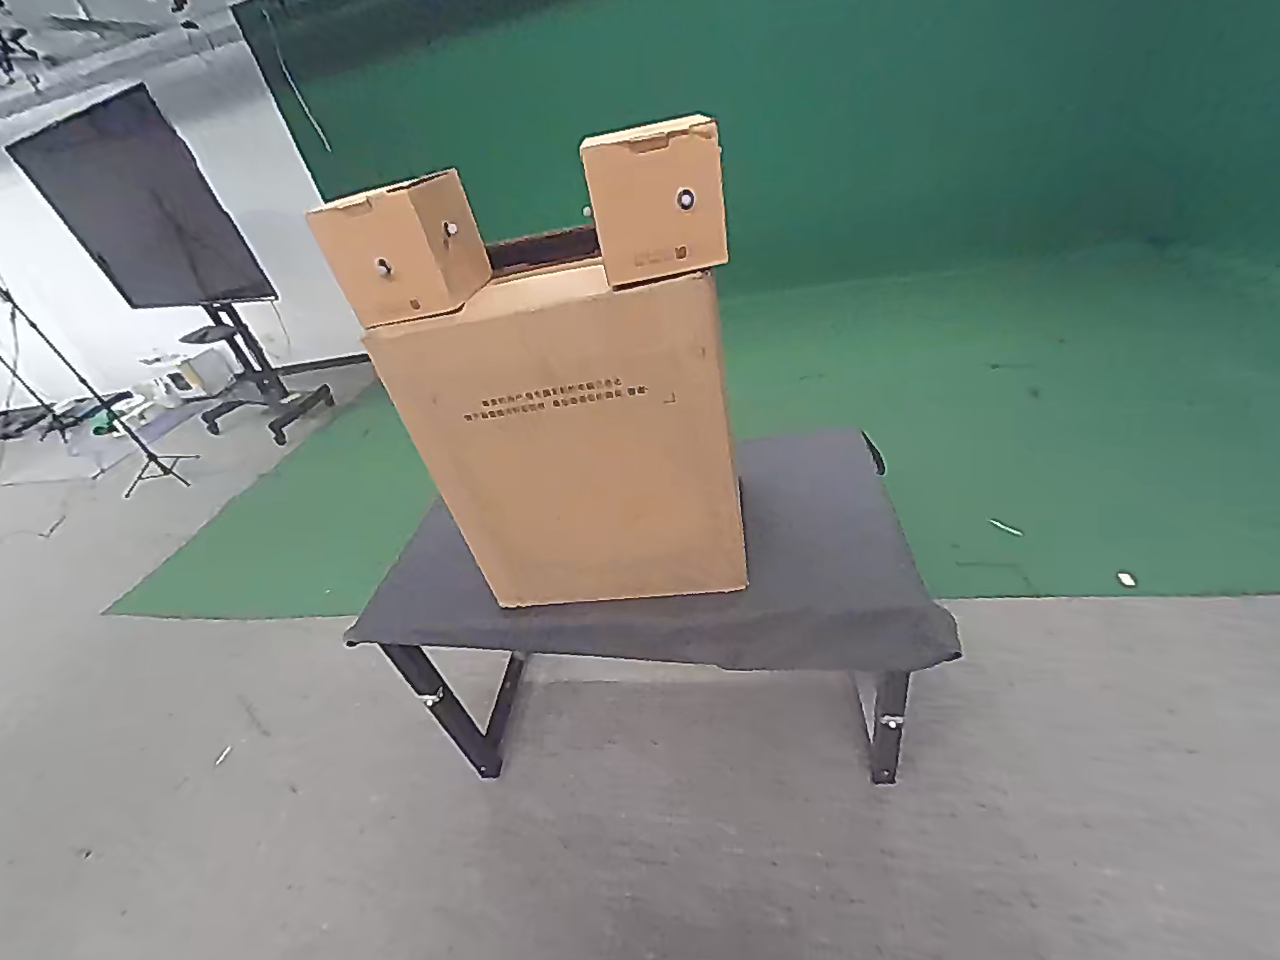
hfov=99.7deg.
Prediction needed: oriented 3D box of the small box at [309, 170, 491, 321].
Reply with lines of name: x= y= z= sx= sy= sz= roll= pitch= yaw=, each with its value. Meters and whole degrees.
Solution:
small box: x=-0.354 y=-0.357 z=0.840 sx=0.168 sy=0.176 sz=0.179 roll=-6 pitch=36 yaw=12

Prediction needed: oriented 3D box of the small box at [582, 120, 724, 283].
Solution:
small box: x=0.021 y=-0.385 z=0.757 sx=0.168 sy=0.176 sz=0.179 roll=-8 pitch=35 yaw=3
